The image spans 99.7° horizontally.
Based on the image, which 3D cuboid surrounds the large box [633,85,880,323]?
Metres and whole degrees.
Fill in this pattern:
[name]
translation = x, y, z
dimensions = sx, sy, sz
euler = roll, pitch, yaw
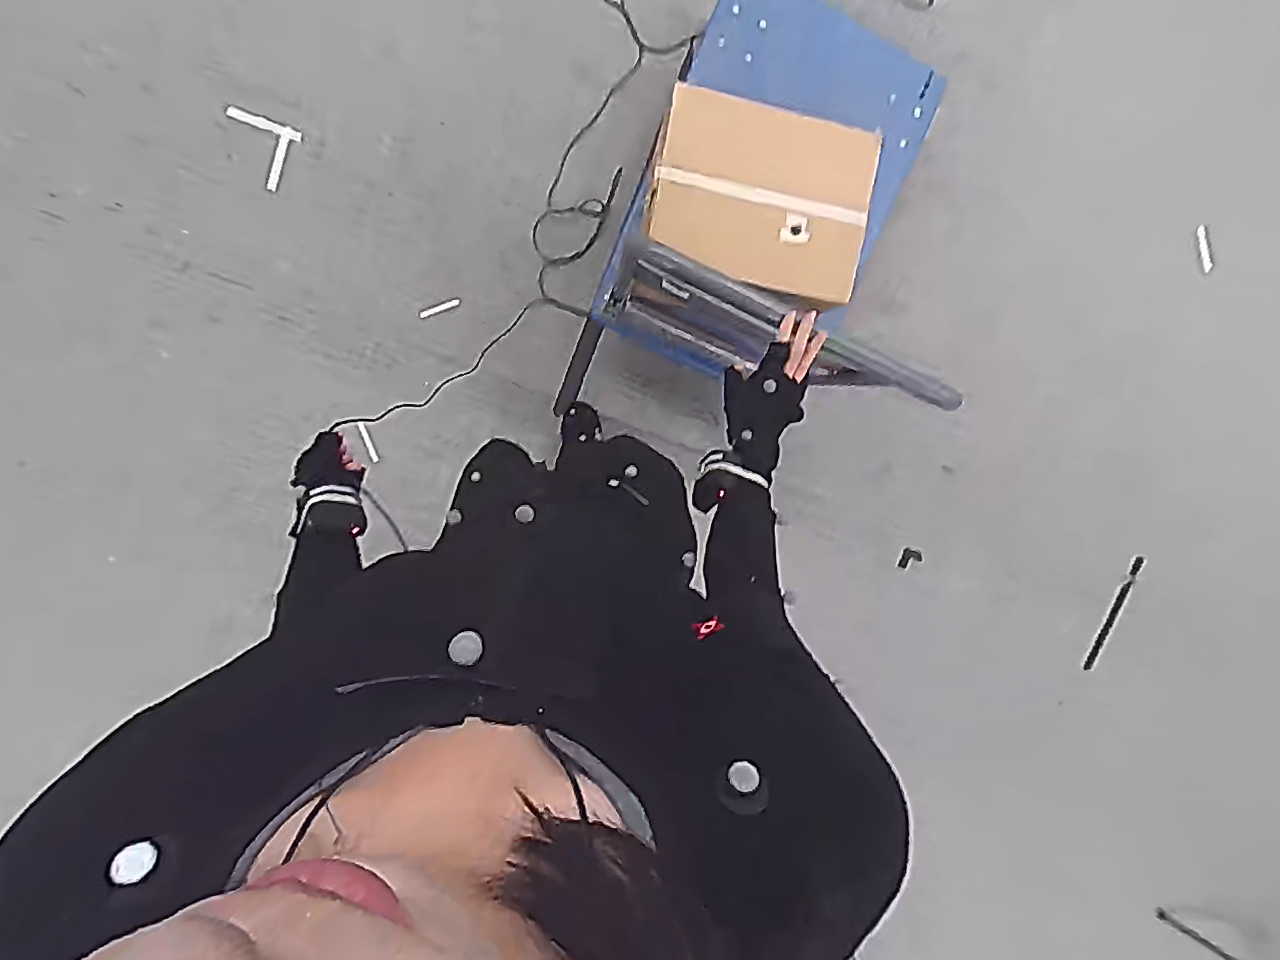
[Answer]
[large box]
translation = 0.216, -0.546, 1.147
dimensions = 0.408, 0.320, 0.320
euler = 9, 97, -8
